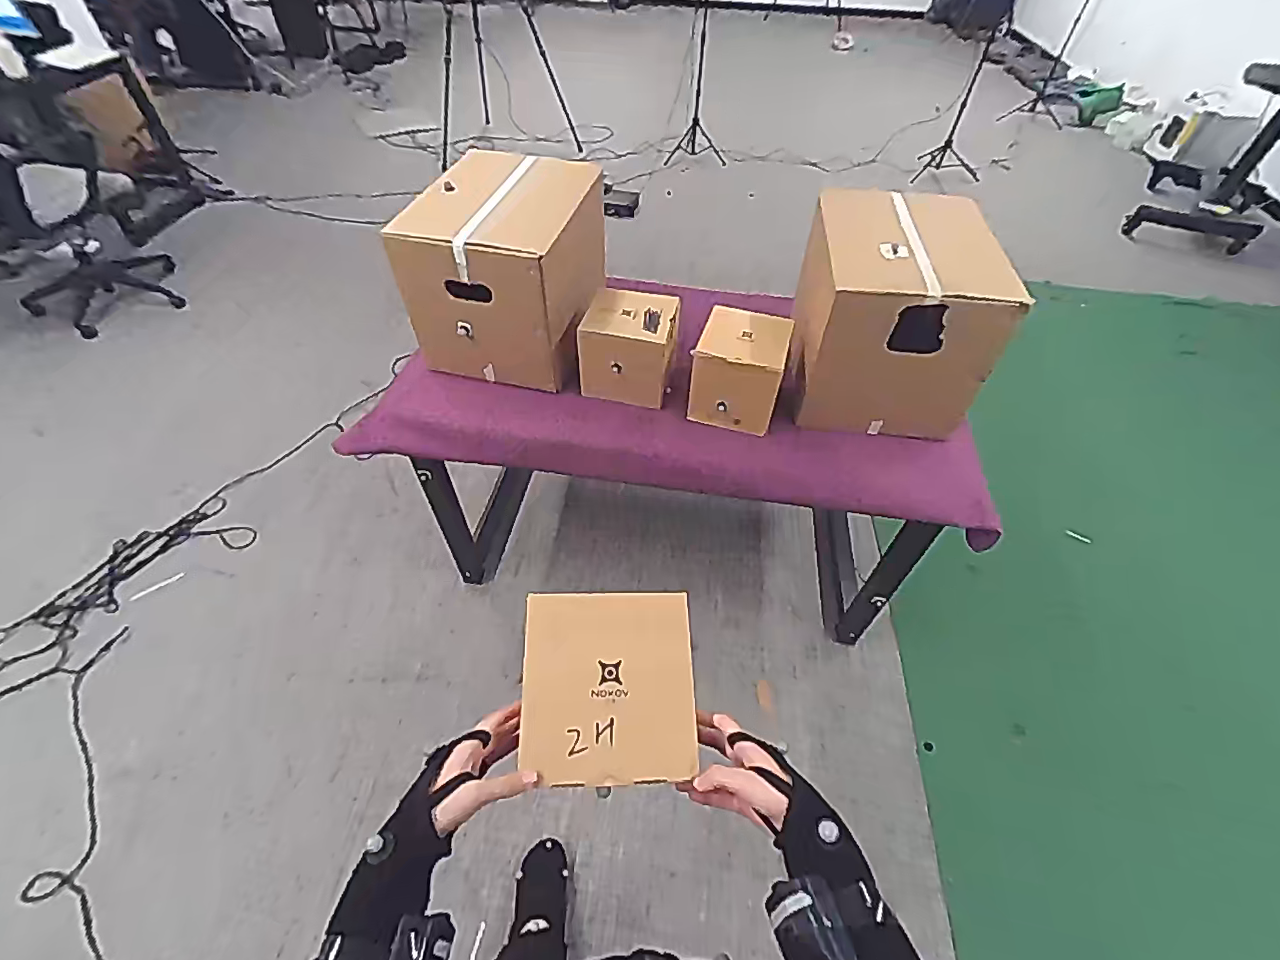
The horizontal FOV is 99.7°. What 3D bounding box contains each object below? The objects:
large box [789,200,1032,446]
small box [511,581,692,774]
[{"bbox_3d":[0.502,-0.328,1.115,0.320,0.320,0.408,6,50,6],"label":"large box"},{"bbox_3d":[-0.042,0.220,0.590,0.168,0.176,0.179,2,63,-5],"label":"small box"}]
